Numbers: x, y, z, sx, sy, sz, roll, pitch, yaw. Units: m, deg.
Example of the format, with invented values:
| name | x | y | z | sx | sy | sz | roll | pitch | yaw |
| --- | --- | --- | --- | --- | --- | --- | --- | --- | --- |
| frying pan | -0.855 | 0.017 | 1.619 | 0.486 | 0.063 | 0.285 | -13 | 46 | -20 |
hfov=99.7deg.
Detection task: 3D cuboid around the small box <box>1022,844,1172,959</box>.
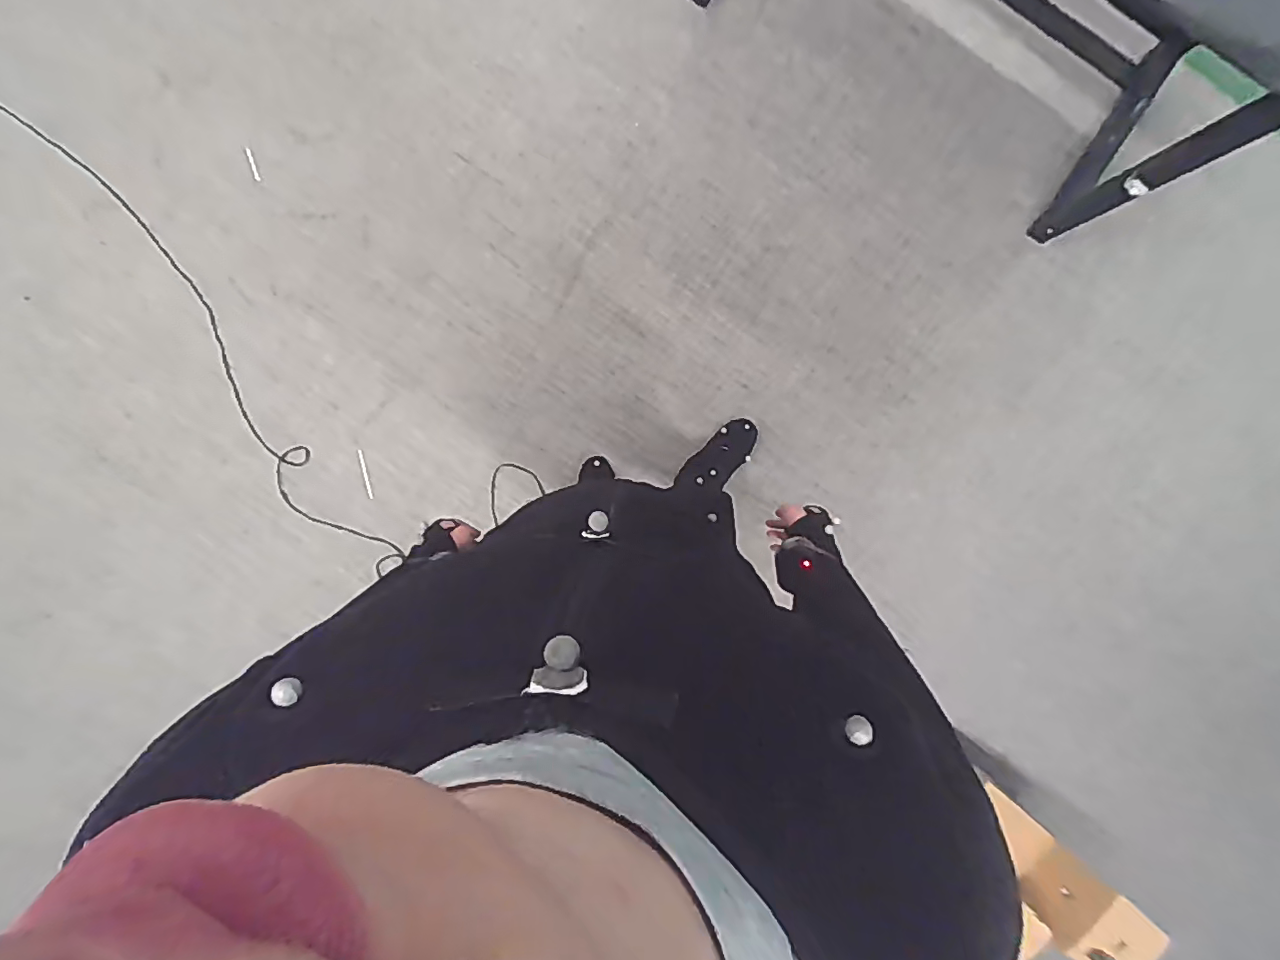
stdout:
| name | x | y | z | sx | sy | sz | roll | pitch | yaw |
| --- | --- | --- | --- | --- | --- | --- | --- | --- | --- |
| small box | 1.026 | 0.998 | 1.237 | 0.168 | 0.176 | 0.179 | 43 | 88 | -4 |
